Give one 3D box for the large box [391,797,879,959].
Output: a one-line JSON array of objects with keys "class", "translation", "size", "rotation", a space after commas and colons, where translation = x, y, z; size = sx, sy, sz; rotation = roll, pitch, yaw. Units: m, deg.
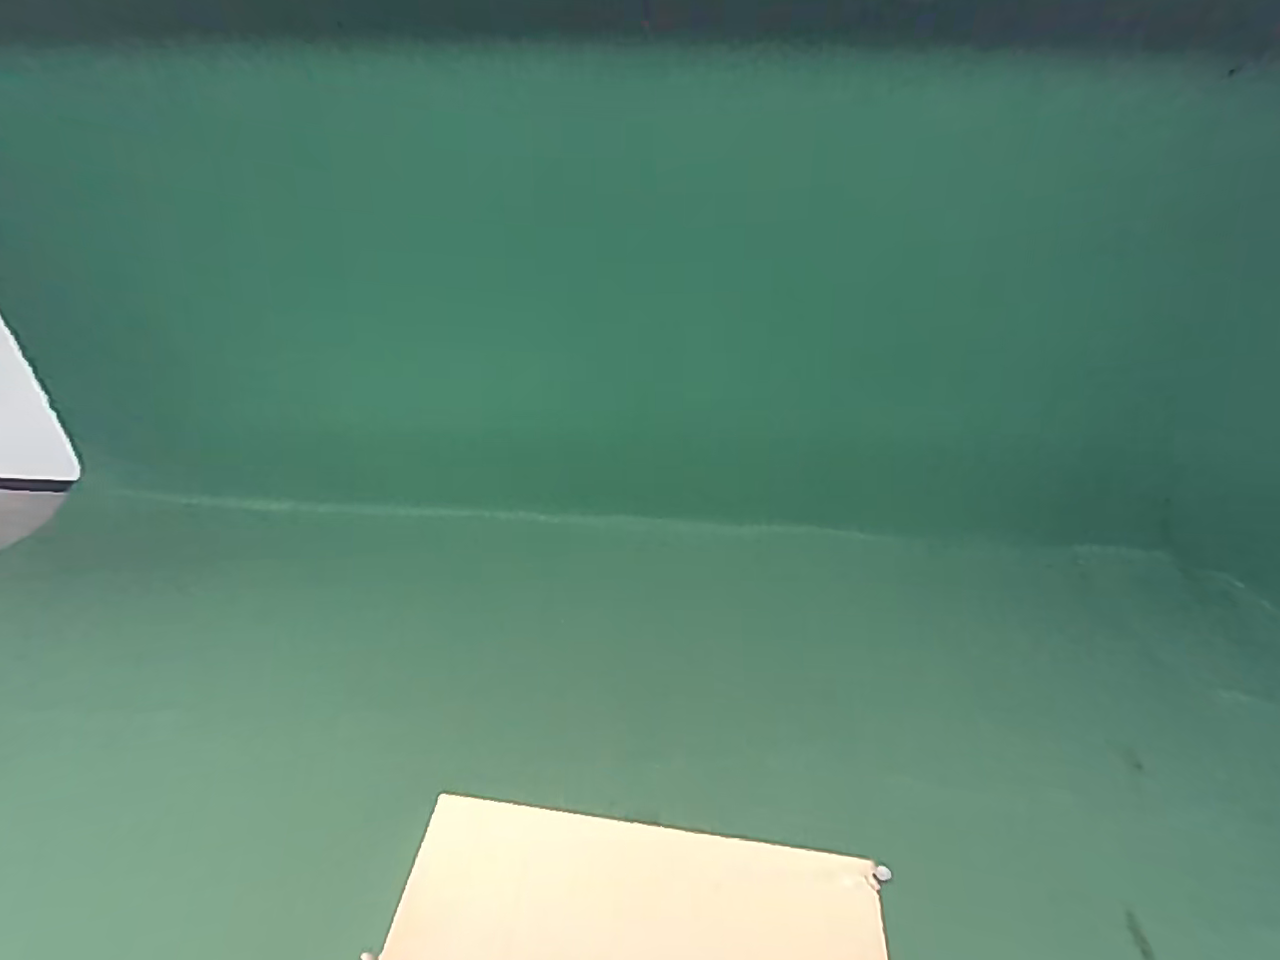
[{"class": "large box", "translation": [-0.014, 0.537, 0.506], "size": [0.408, 0.320, 0.320], "rotation": [6, 46, 4]}]
